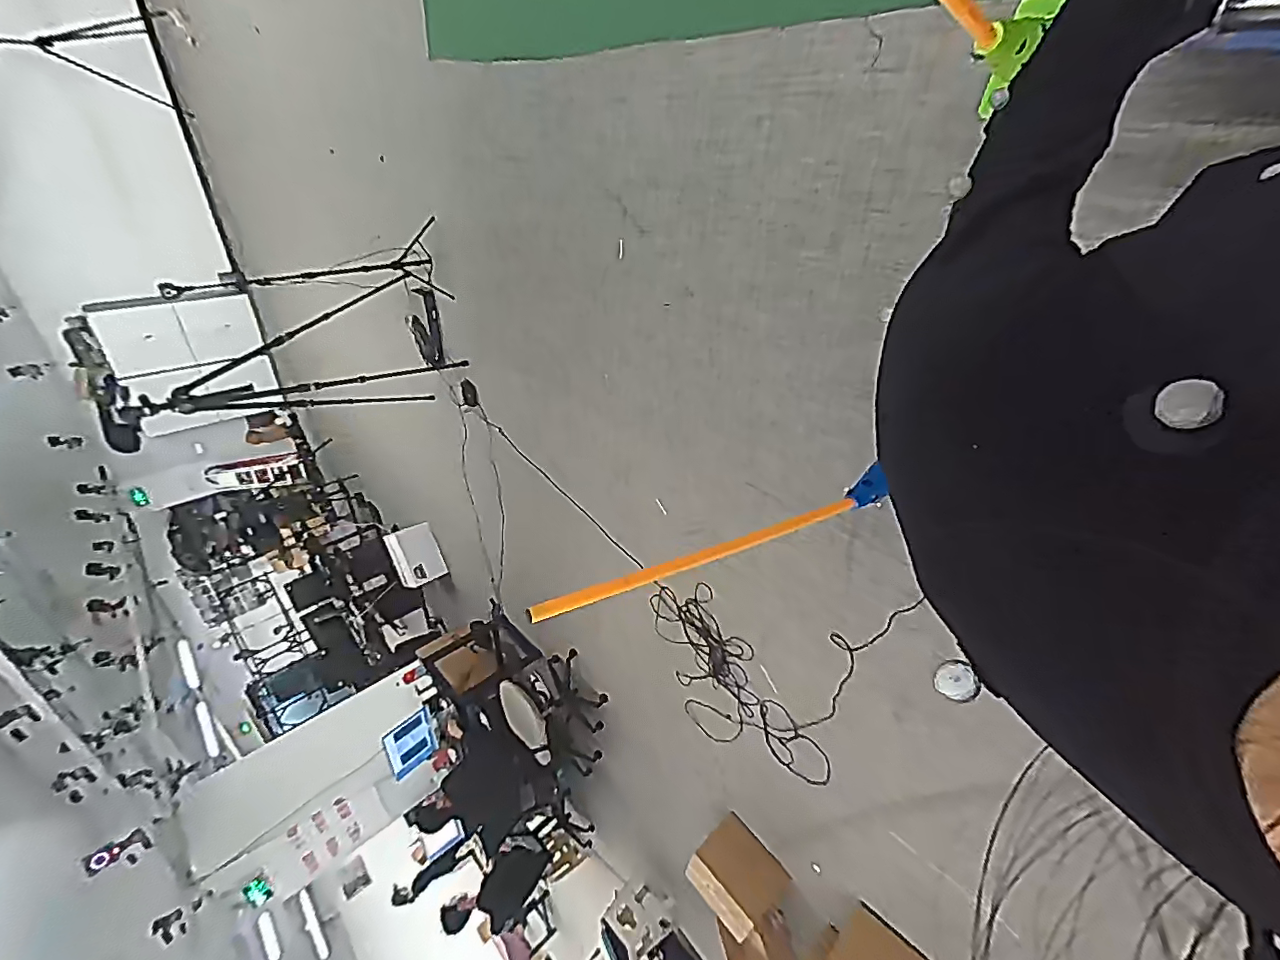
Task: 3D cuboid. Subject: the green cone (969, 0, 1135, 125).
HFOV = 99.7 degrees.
[{"bbox_3d":[0.677,-0.763,0.955,0.202,0.368,0.200,36,134,35],"label":"green cone"}]
